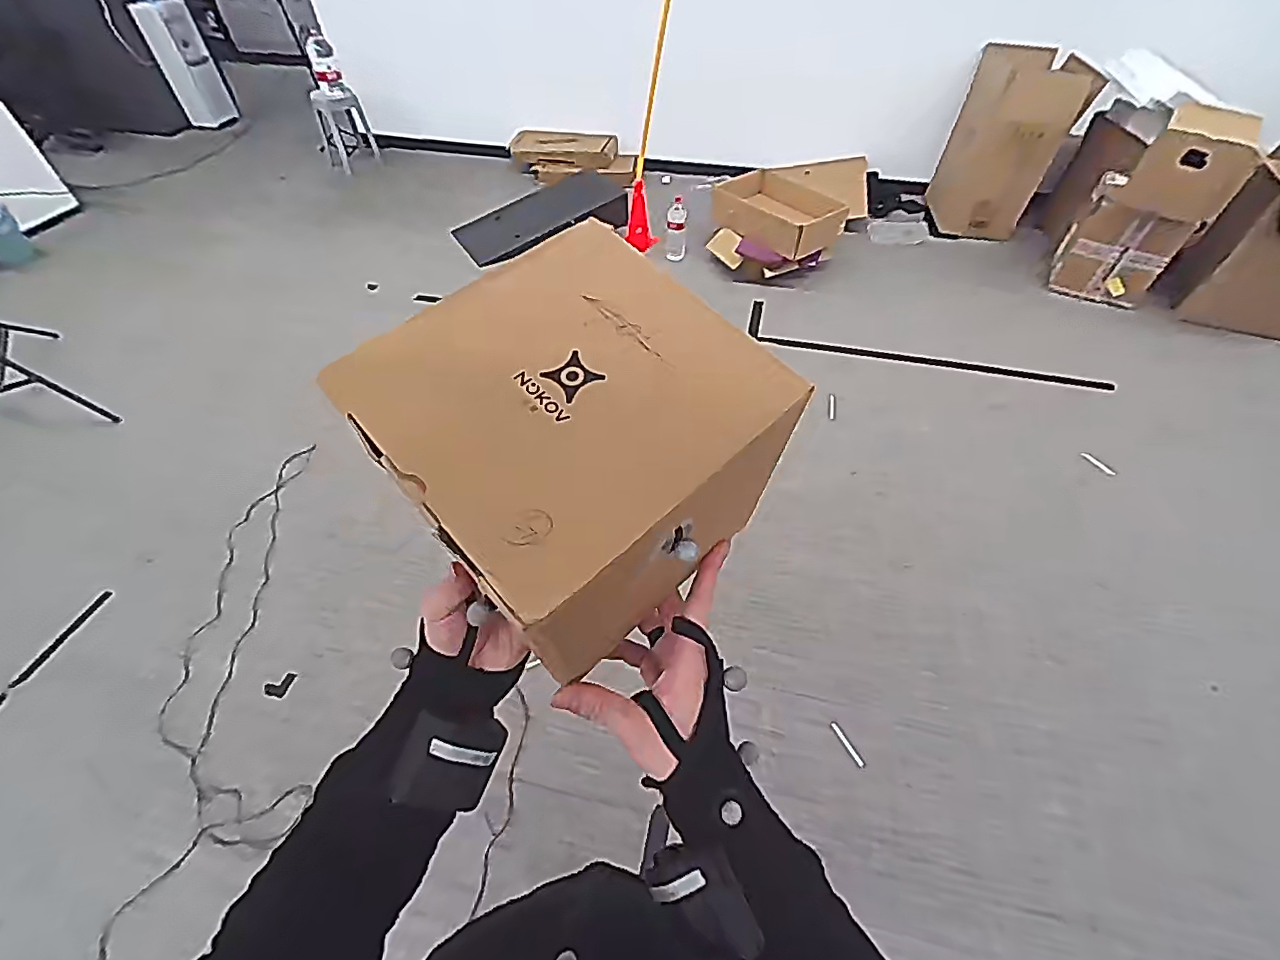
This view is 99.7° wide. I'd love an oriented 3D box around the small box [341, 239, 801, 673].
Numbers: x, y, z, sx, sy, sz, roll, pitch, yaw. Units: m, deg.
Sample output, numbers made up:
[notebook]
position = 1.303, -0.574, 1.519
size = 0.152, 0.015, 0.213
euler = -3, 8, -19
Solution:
[small box]
position = -0.035, -0.005, 0.341
size = 0.179, 0.176, 0.168
euler = -39, 71, -20
